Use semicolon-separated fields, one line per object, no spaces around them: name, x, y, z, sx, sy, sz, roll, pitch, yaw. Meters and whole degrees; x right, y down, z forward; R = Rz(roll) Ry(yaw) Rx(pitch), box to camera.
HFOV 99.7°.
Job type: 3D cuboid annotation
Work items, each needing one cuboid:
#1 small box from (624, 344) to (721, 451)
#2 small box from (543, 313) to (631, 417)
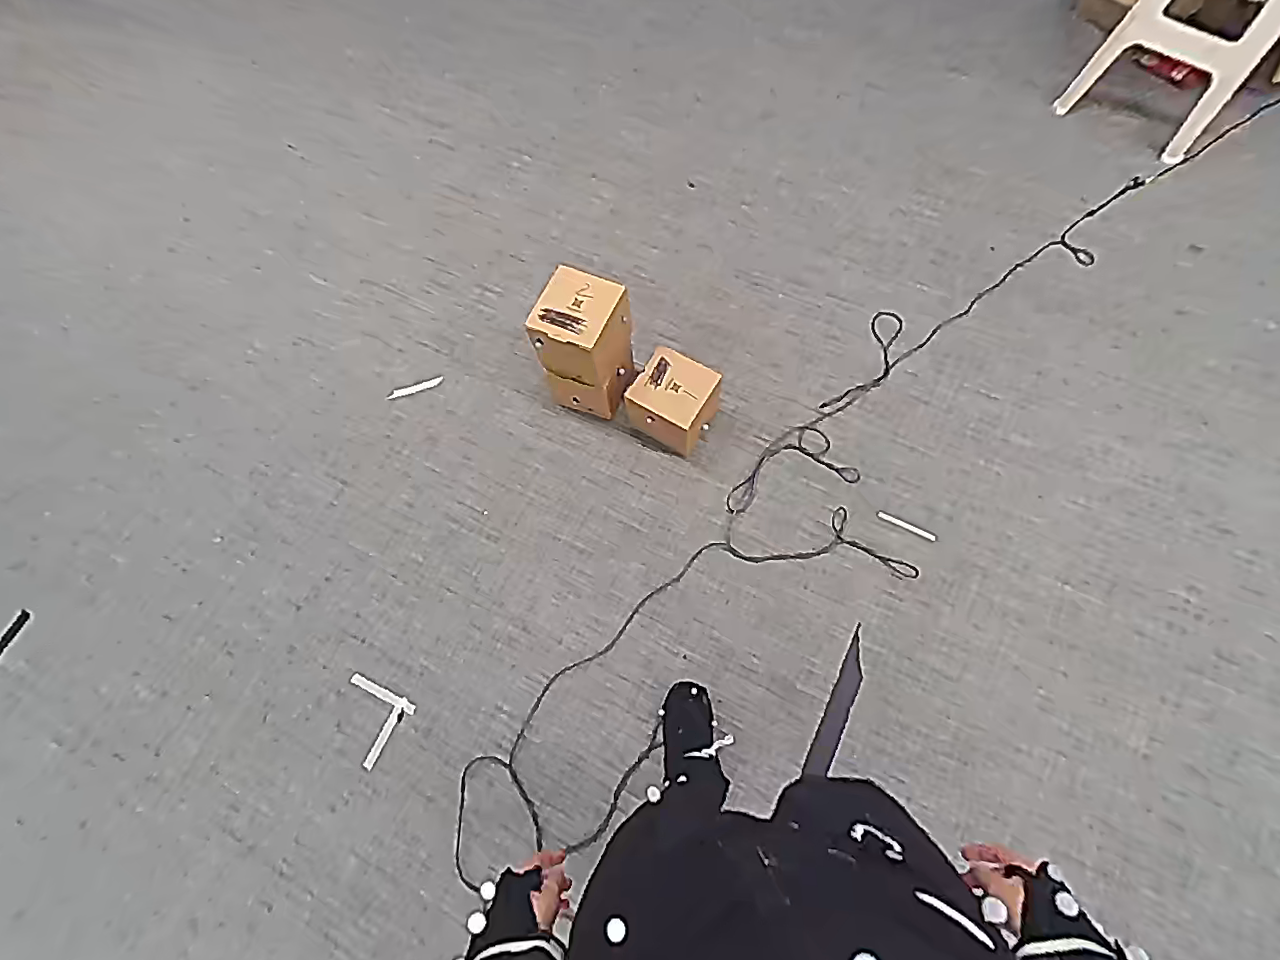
small box;0.080;-0.197;1.338;0.179;0.176;0.168;30;76;13
small box;-0.128;-0.291;1.390;0.168;0.176;0.179;18;73;10
